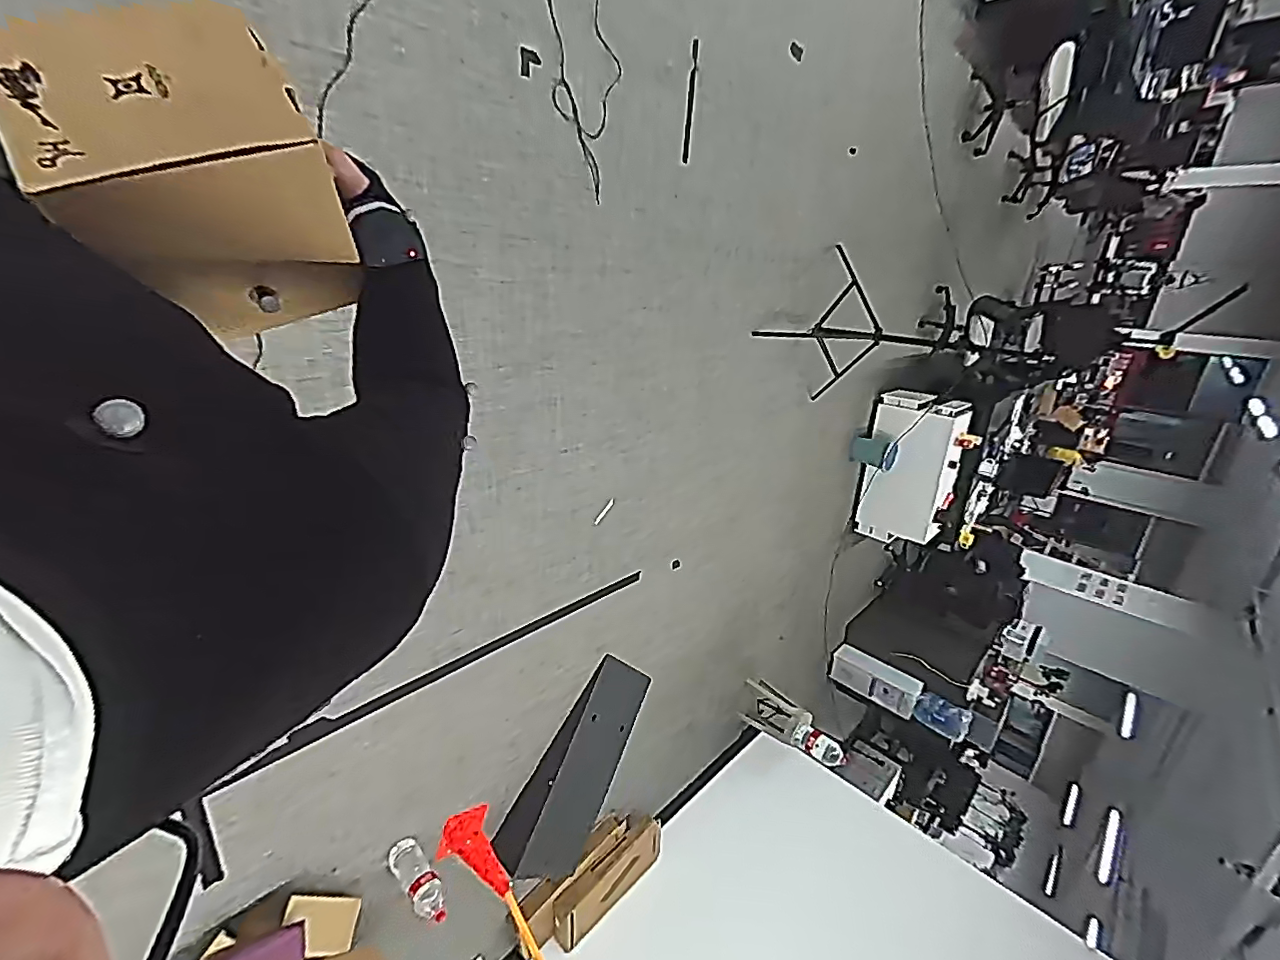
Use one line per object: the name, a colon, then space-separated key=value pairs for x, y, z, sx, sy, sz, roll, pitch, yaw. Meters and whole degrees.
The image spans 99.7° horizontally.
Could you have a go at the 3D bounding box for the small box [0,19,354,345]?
small box: x=-0.375 y=-0.251 z=0.471 sx=0.179 sy=0.168 sz=0.176 roll=-28 pitch=165 yaw=-23
